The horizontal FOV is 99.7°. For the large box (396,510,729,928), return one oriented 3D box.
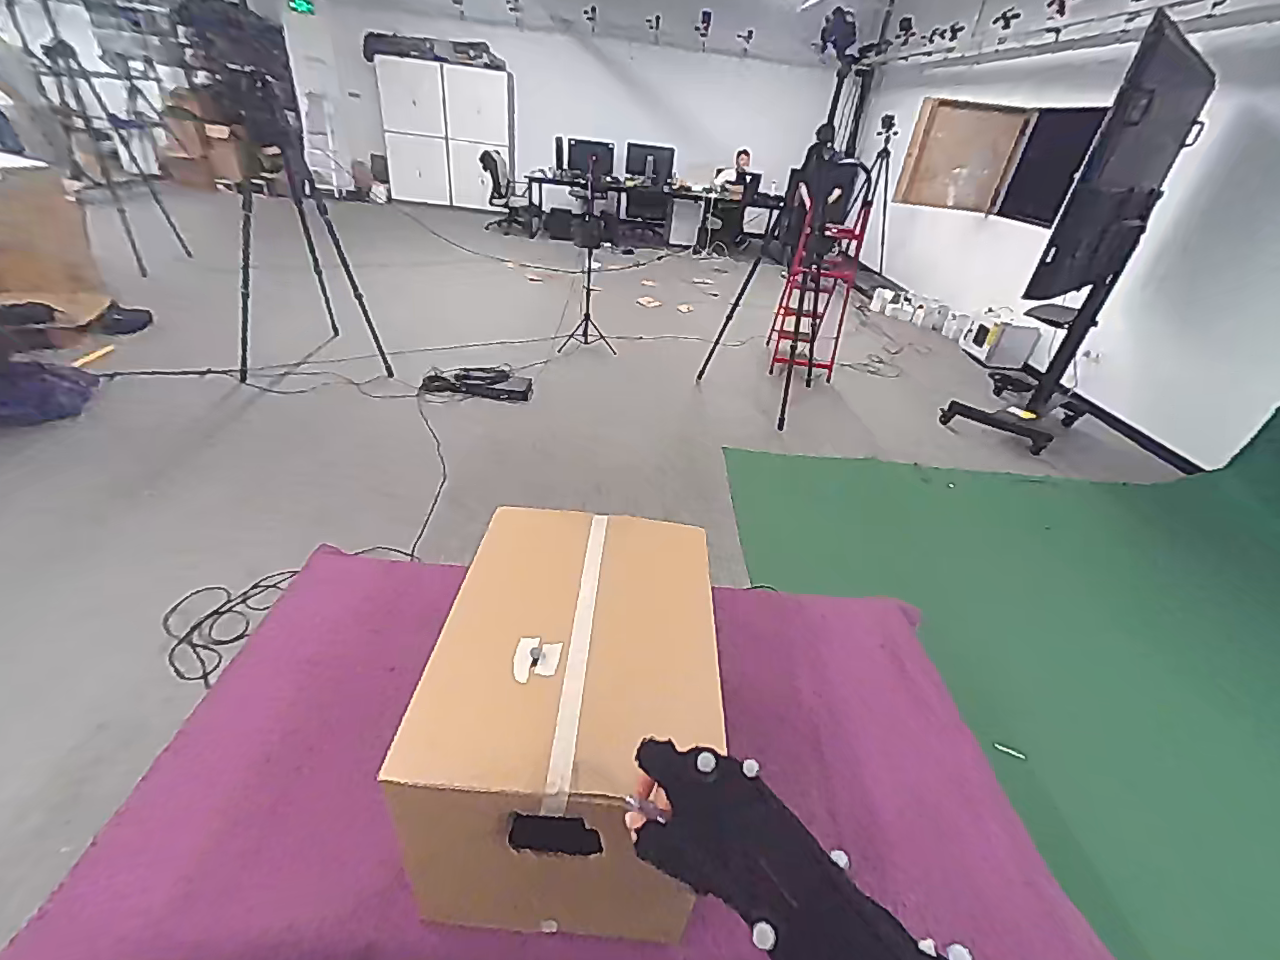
[{"bbox_3d":[-0.083,0.295,0.733,0.320,0.320,0.408,7,34,-2],"label":"large box"}]
